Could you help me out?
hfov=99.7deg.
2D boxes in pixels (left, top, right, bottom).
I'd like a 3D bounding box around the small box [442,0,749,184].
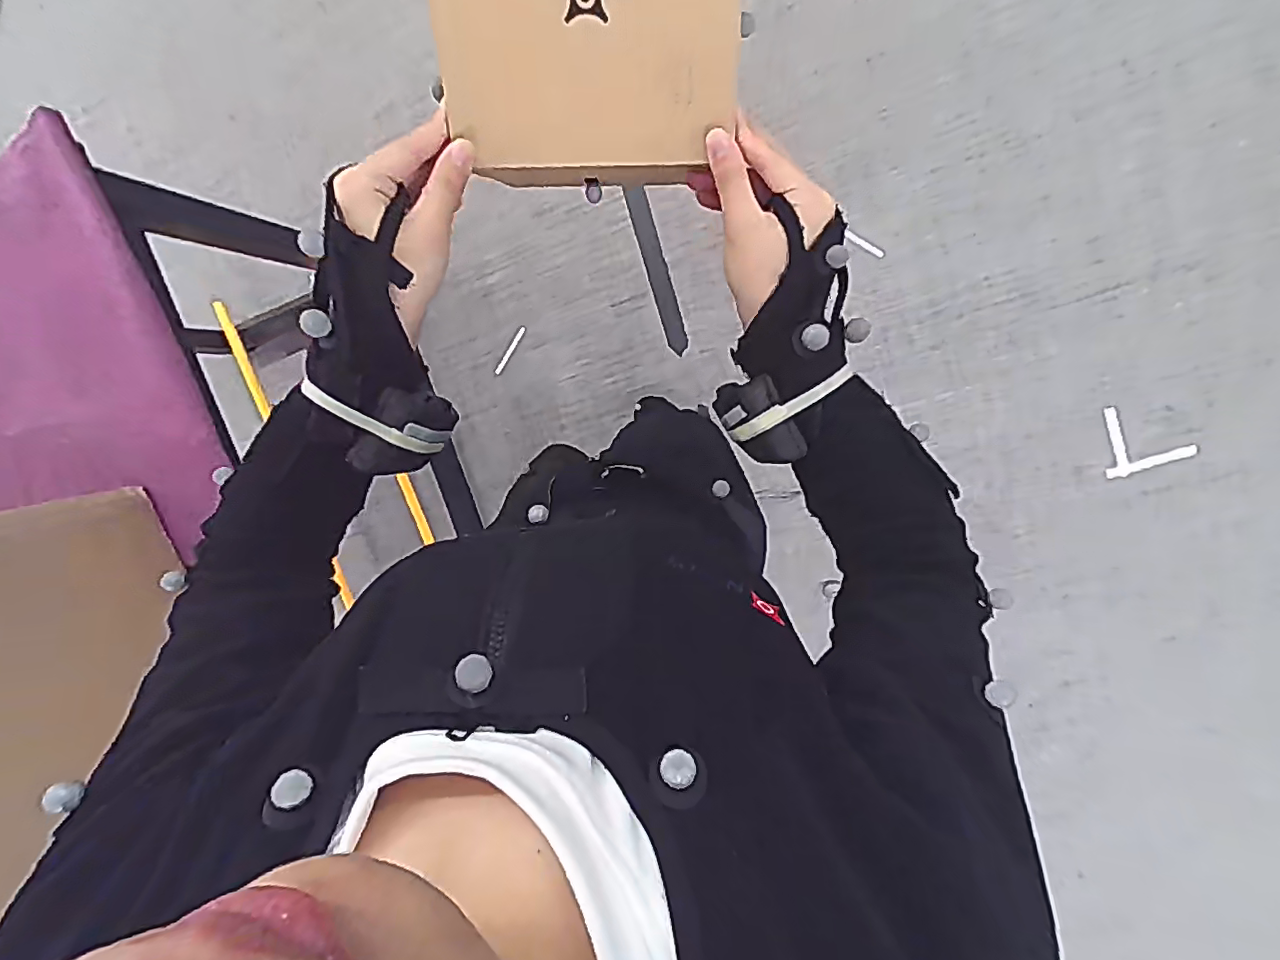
[{"bbox_3d":[-0.024,-0.296,0.353,0.168,0.176,0.179,-1,115,-1],"label":"small box"}]
